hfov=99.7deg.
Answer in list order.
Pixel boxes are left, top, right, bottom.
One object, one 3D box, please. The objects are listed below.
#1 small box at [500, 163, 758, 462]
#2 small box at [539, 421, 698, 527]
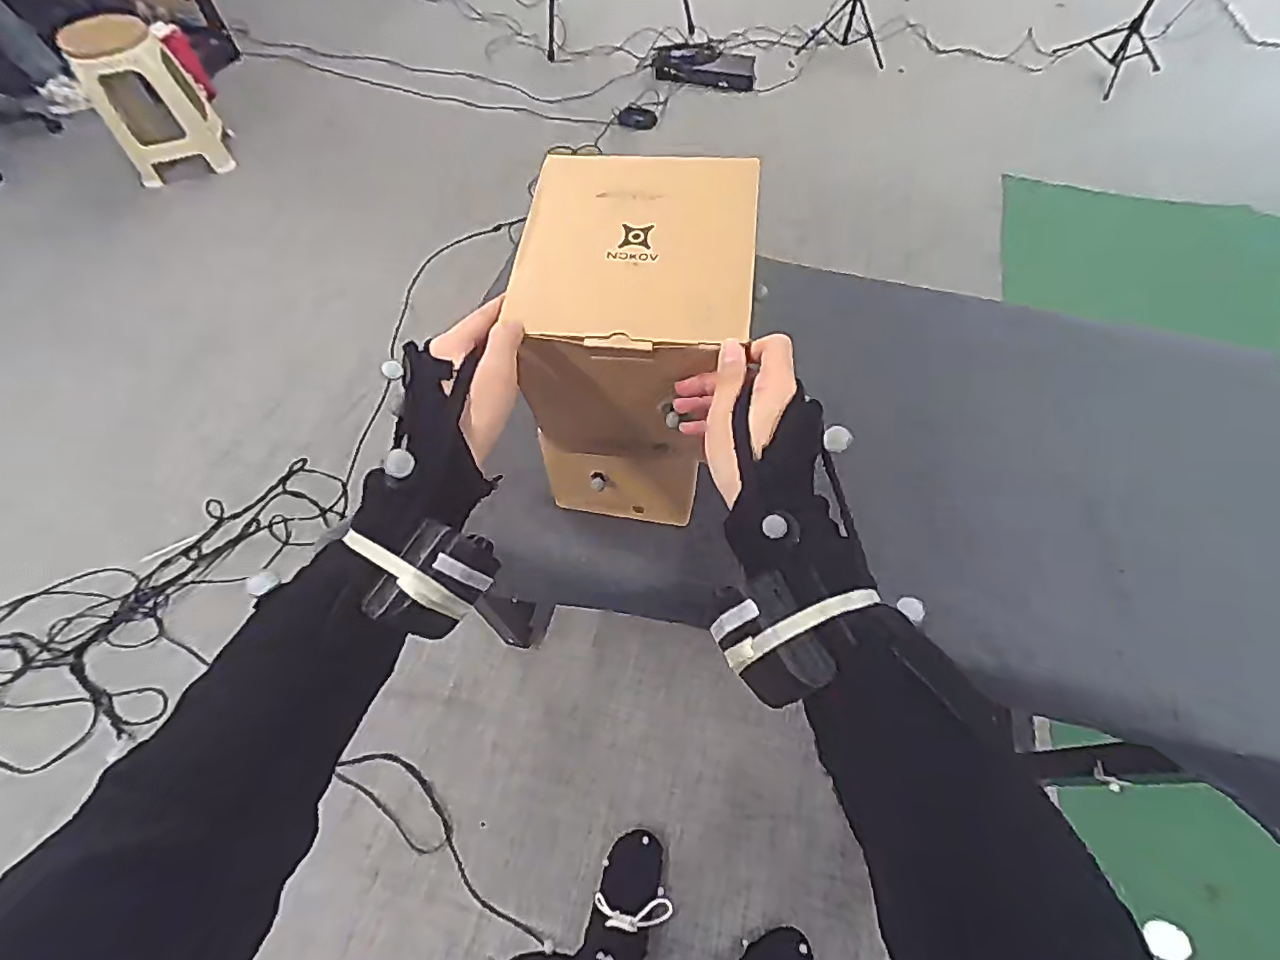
[{"bbox_3d":[0.003,-0.130,0.453,0.168,0.176,0.179,6,65,6],"label":"small box"},{"bbox_3d":[-0.008,-0.061,0.646,0.168,0.176,0.179,9,59,5],"label":"small box"}]
